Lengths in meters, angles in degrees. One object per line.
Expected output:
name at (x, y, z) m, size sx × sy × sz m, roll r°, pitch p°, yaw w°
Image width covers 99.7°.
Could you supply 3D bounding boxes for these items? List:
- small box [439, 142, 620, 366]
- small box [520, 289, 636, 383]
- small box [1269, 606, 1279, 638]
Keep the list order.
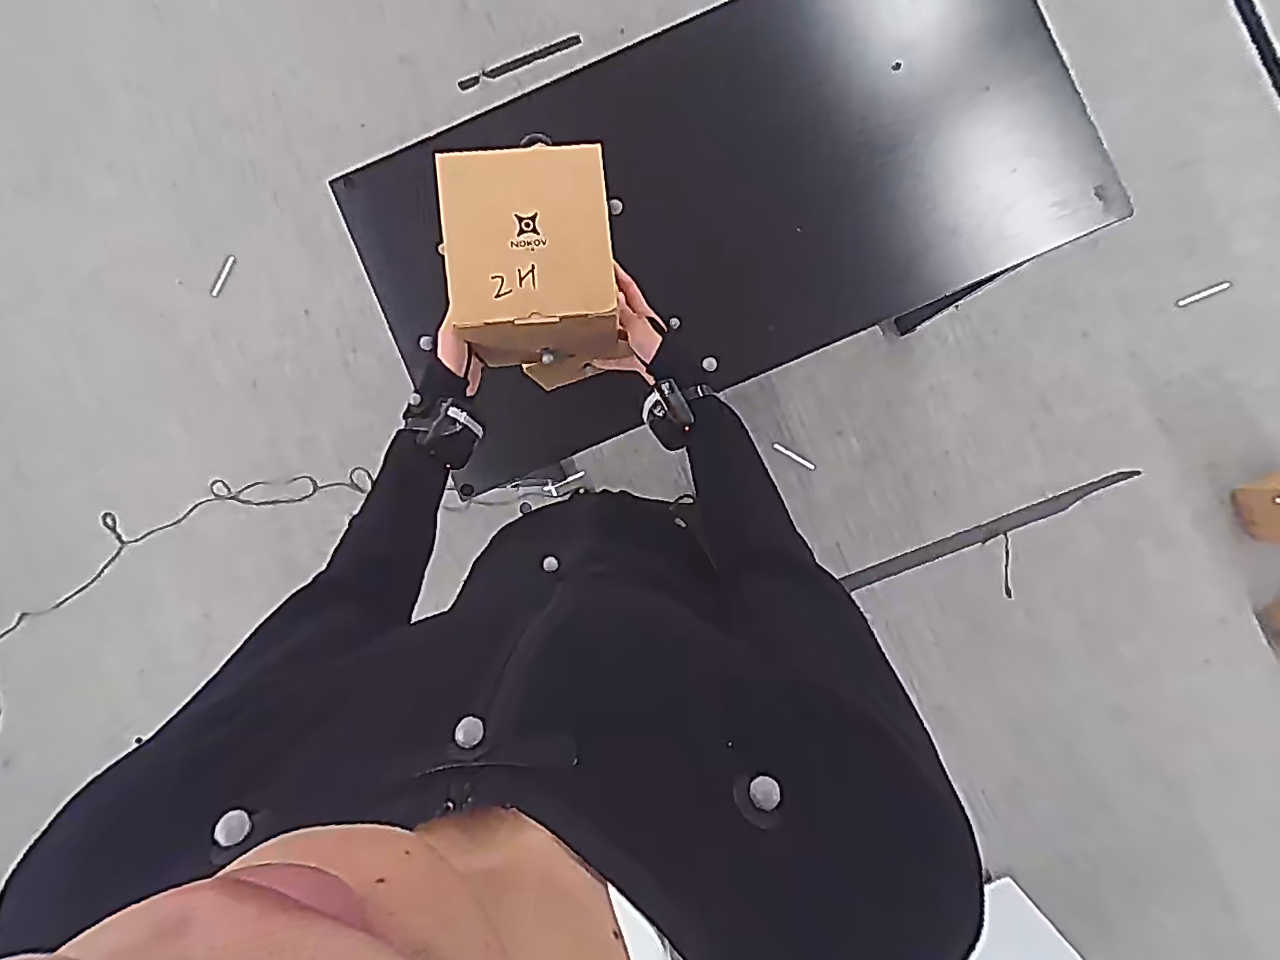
small box at (-0.113, -0.239, 0.605) m, size 0.168 × 0.176 × 0.179 m, roll -5°, pitch 88°, yaw -3°
small box at (-0.109, -0.258, 0.828) m, size 0.168 × 0.176 × 0.179 m, roll -19°, pitch 89°, yaw 2°
small box at (1.918, 0.415, 1.476) m, size 0.179 × 0.176 × 0.168 m, roll -24°, pitch 88°, yaw 3°
